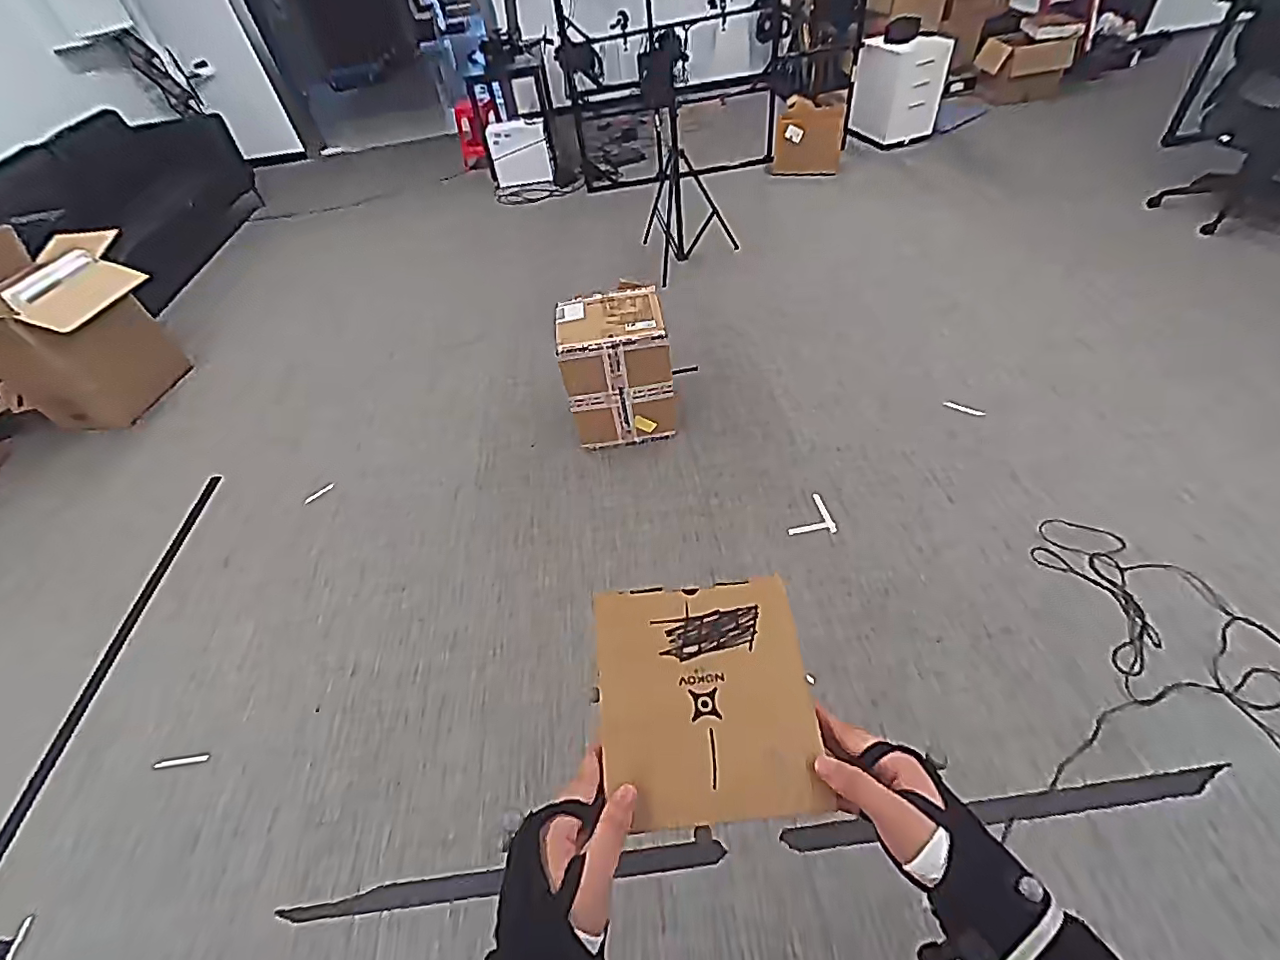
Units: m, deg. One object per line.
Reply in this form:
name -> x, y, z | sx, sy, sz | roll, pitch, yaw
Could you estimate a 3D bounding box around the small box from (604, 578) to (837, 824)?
small box -> 0.055, 0.205, 0.494 | 0.168, 0.176, 0.179 | -4, 59, -1
